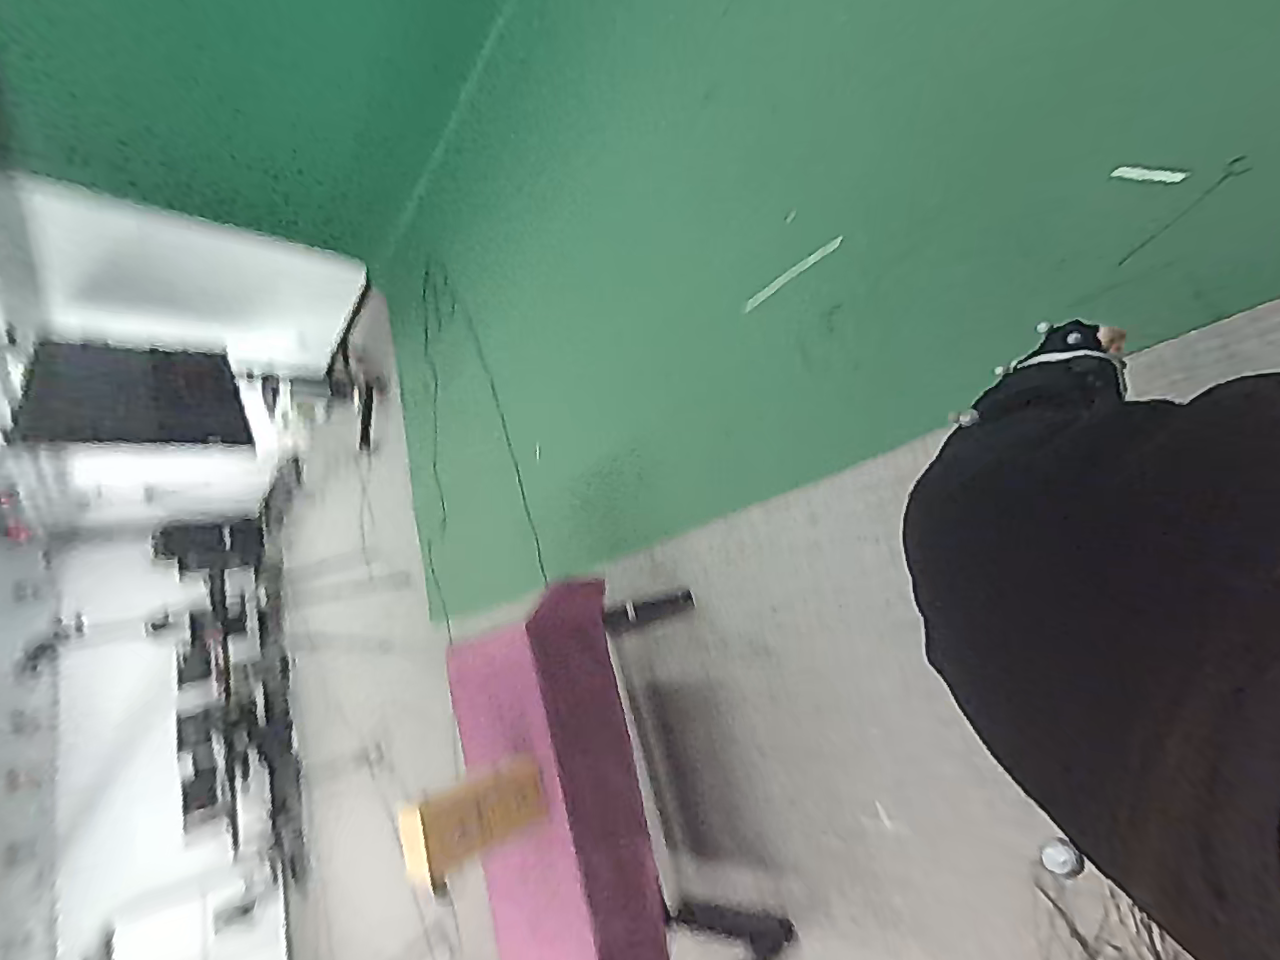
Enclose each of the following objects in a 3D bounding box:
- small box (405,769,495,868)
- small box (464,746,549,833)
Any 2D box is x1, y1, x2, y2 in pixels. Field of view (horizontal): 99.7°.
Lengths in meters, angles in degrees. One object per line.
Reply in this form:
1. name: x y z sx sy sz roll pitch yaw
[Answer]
1. small box: -0.492 0.874 1.415 0.179 0.176 0.168 -30 69 44
2. small box: -0.371 0.865 1.528 0.179 0.176 0.168 -29 70 43
